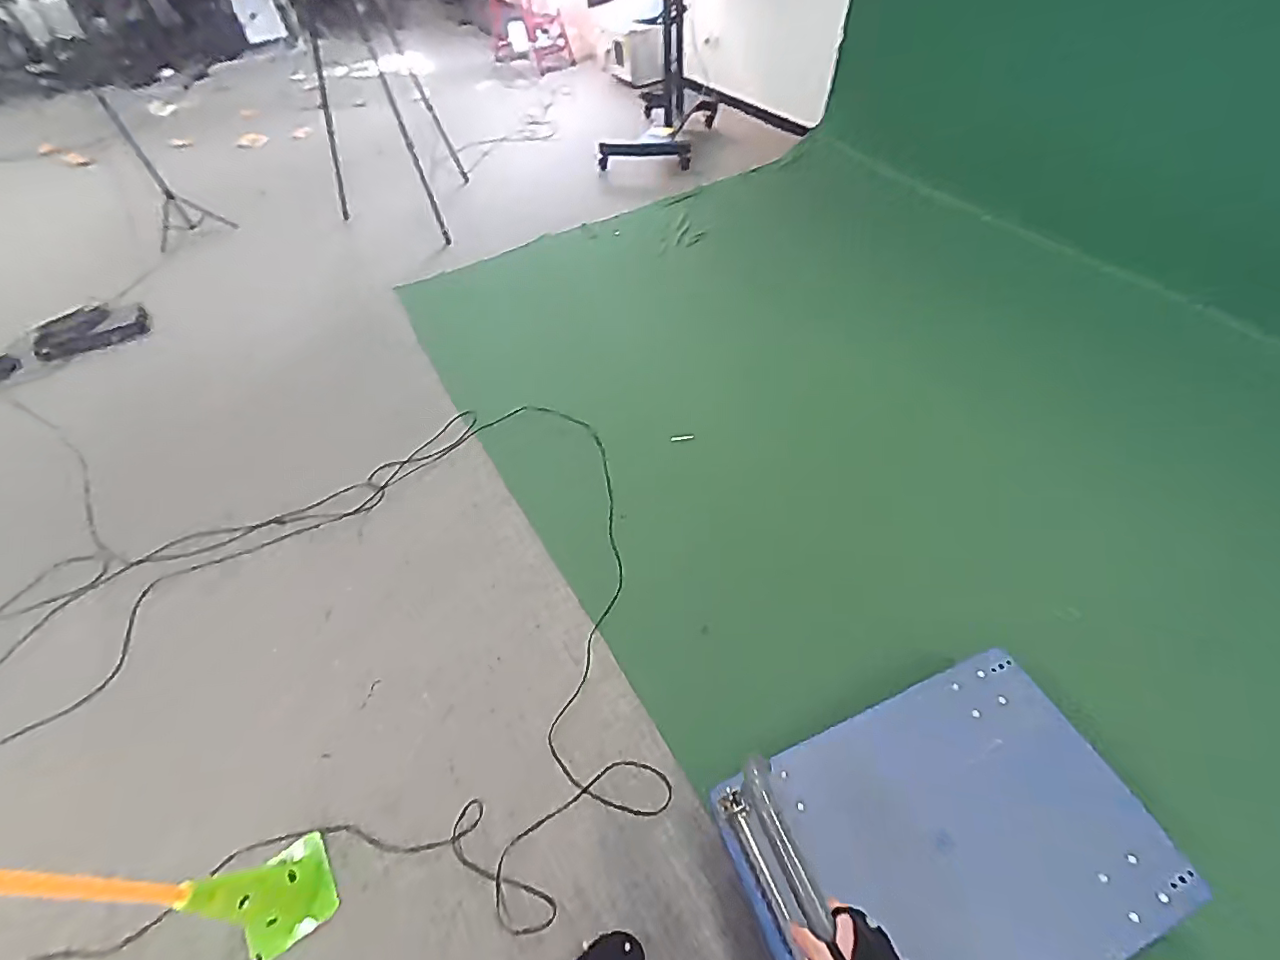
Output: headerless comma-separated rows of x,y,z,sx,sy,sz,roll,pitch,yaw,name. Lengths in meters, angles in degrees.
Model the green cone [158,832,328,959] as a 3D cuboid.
-0.866,0.880,1.150,0.200,0.368,0.202,-31,55,-19,green cone
